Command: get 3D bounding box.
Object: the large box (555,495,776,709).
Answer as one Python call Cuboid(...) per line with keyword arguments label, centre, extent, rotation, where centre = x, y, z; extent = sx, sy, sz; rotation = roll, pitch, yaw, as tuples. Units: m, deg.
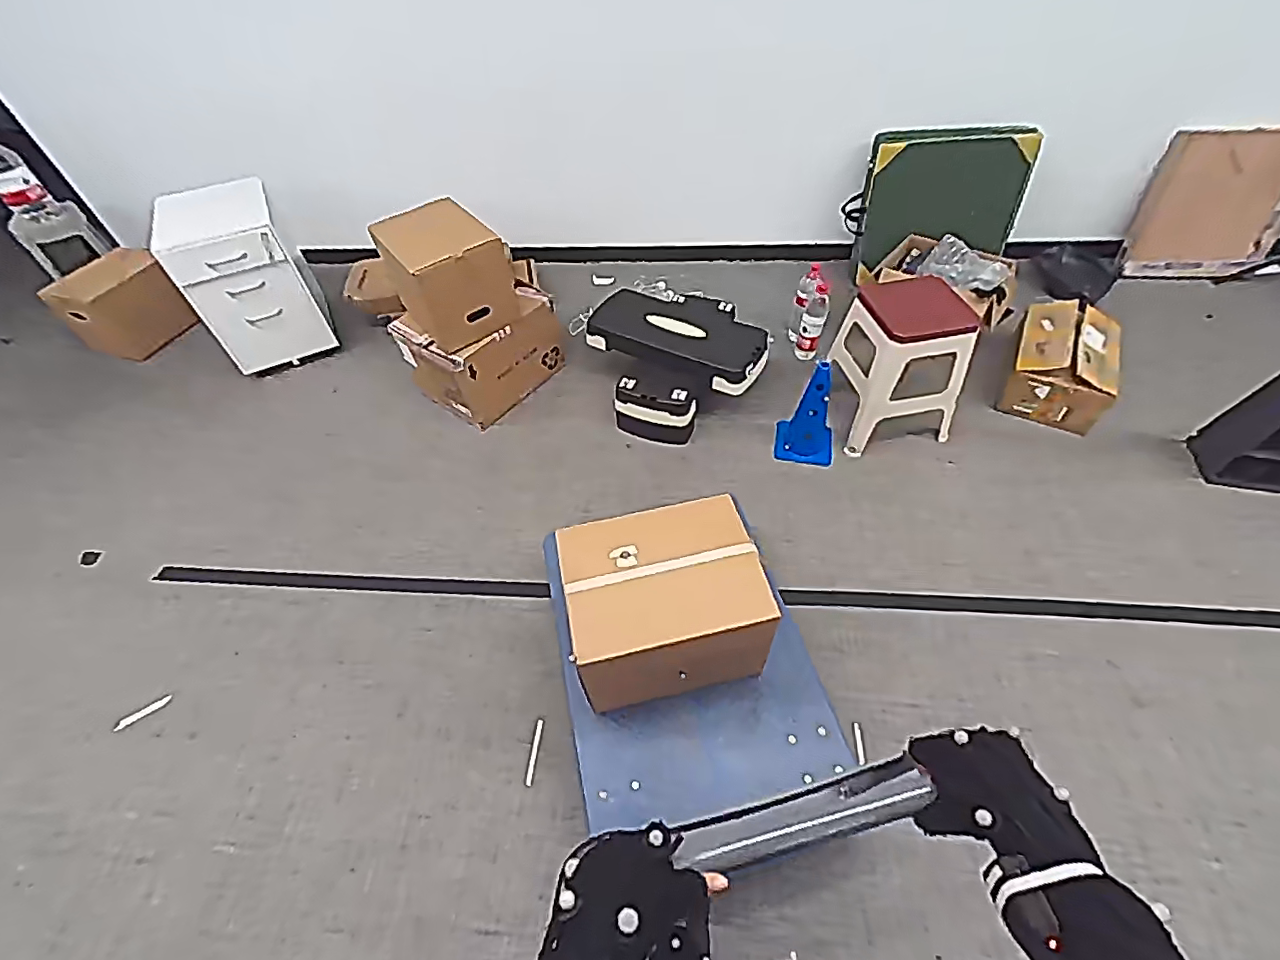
Cuboid(label="large box", centre=(0.049, 0.283, 1.236), extent=(0.408, 0.320, 0.320), rotation=(-12, 51, -5))
